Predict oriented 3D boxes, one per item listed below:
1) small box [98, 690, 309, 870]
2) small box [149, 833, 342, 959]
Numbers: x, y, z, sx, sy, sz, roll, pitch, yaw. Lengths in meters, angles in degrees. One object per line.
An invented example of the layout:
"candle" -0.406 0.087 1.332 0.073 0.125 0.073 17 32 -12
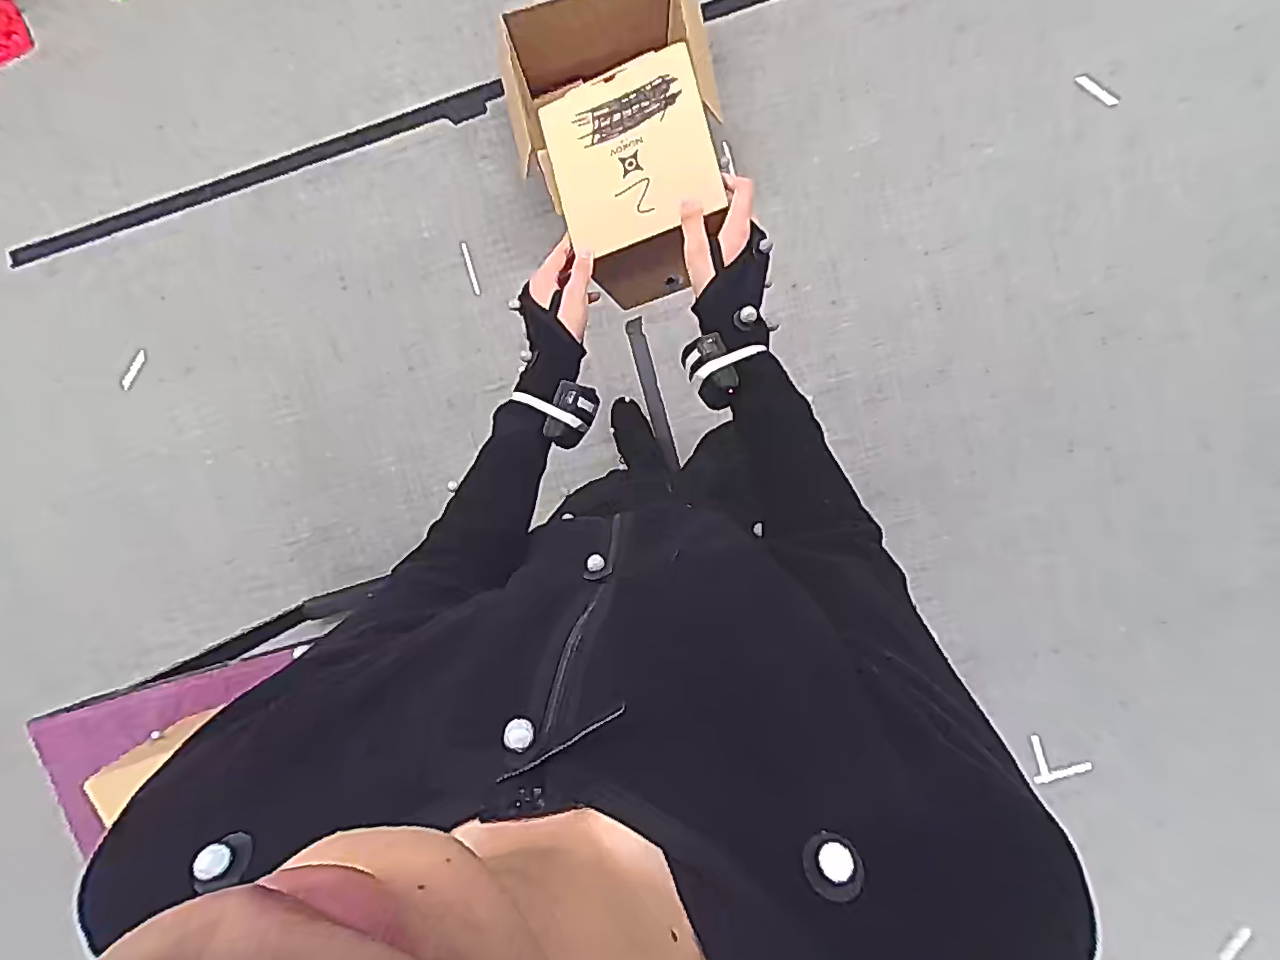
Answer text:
"small box" -0.692 0.475 0.879 0.179 0.176 0.168 -20 96 4
"small box" -0.636 0.741 0.903 0.179 0.176 0.168 -26 94 4
